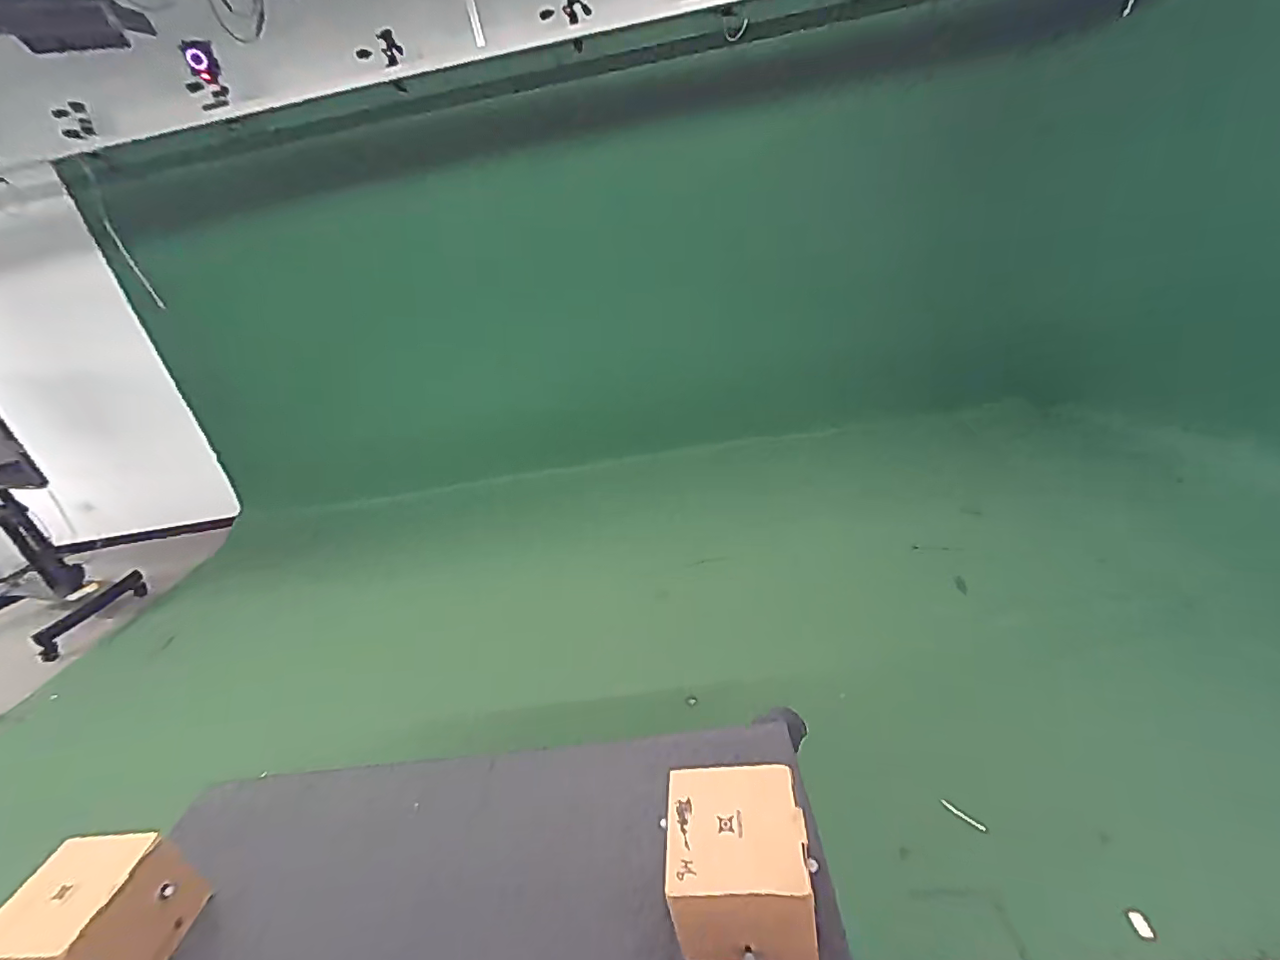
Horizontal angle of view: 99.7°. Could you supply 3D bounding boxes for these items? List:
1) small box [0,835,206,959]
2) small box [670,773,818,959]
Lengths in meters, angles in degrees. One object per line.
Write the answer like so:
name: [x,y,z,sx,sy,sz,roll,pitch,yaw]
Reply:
small box: [-0.826,0.676,0.821,0.179,0.176,0.168,-7,23,8]
small box: [0.141,0.534,0.744,0.179,0.176,0.168,-7,26,9]
